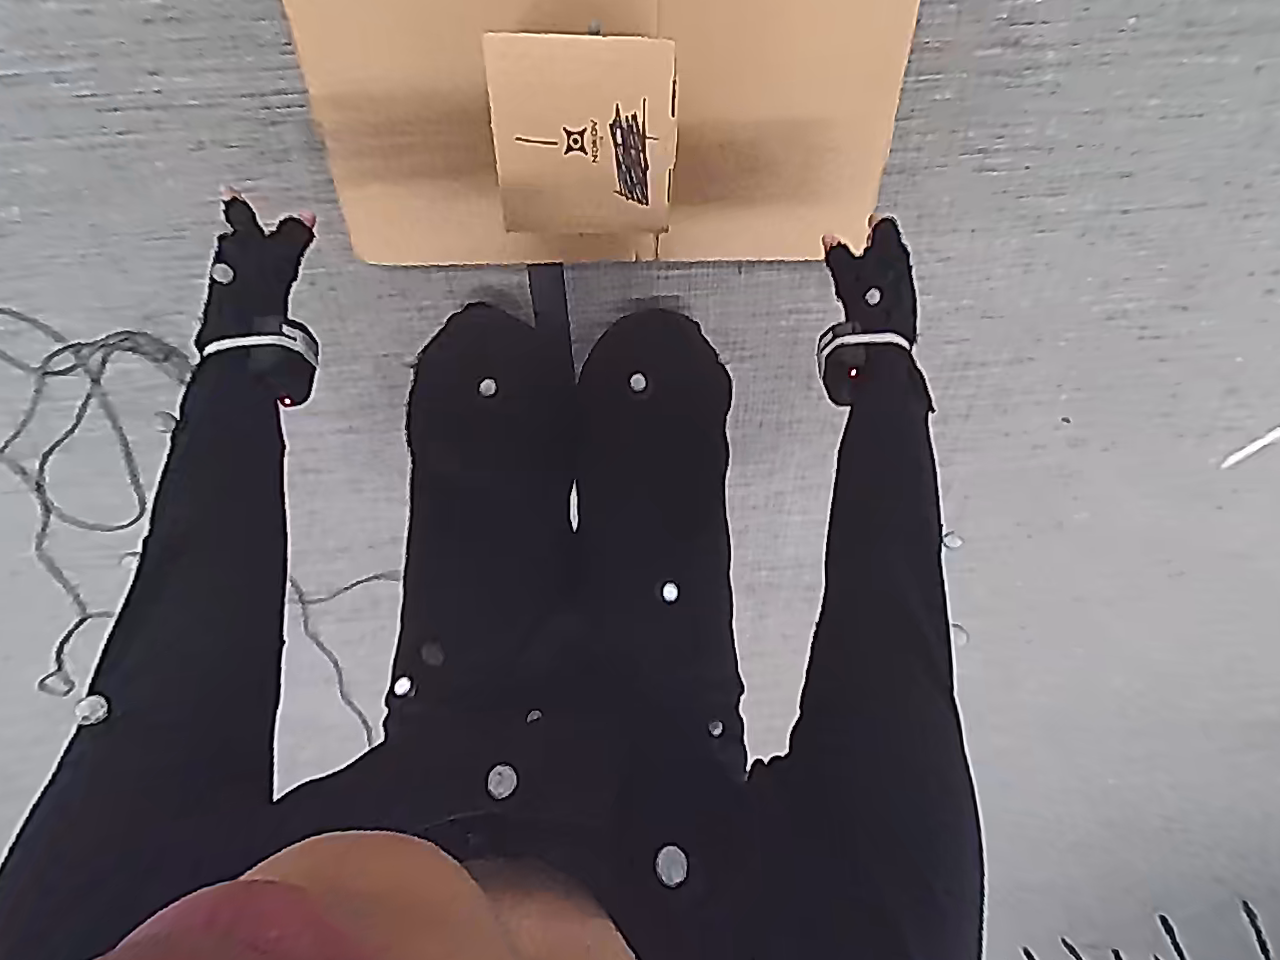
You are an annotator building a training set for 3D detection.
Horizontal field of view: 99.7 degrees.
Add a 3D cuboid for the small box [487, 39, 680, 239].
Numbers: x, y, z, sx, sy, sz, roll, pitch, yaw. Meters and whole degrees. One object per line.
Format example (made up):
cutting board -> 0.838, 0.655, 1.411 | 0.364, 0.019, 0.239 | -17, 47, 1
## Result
small box -> -0.058, -0.371, 0.594 | 0.179, 0.176, 0.168 | -1, 125, -4
